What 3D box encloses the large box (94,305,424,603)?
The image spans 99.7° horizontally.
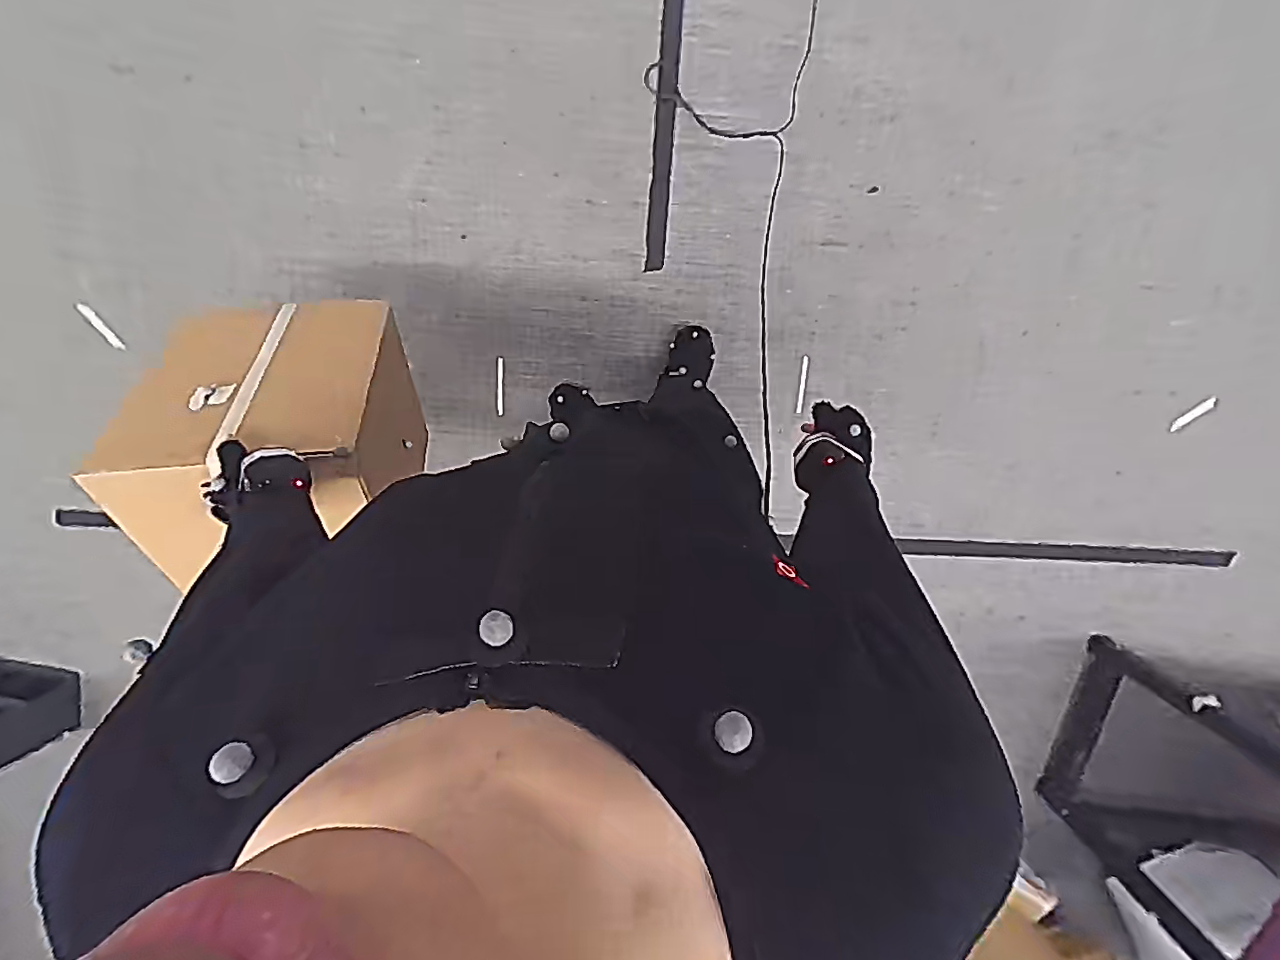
[{"bbox_3d":[-0.565,-0.057,0.918,0.320,0.408,0.320,-5,137,-10],"label":"large box"}]
